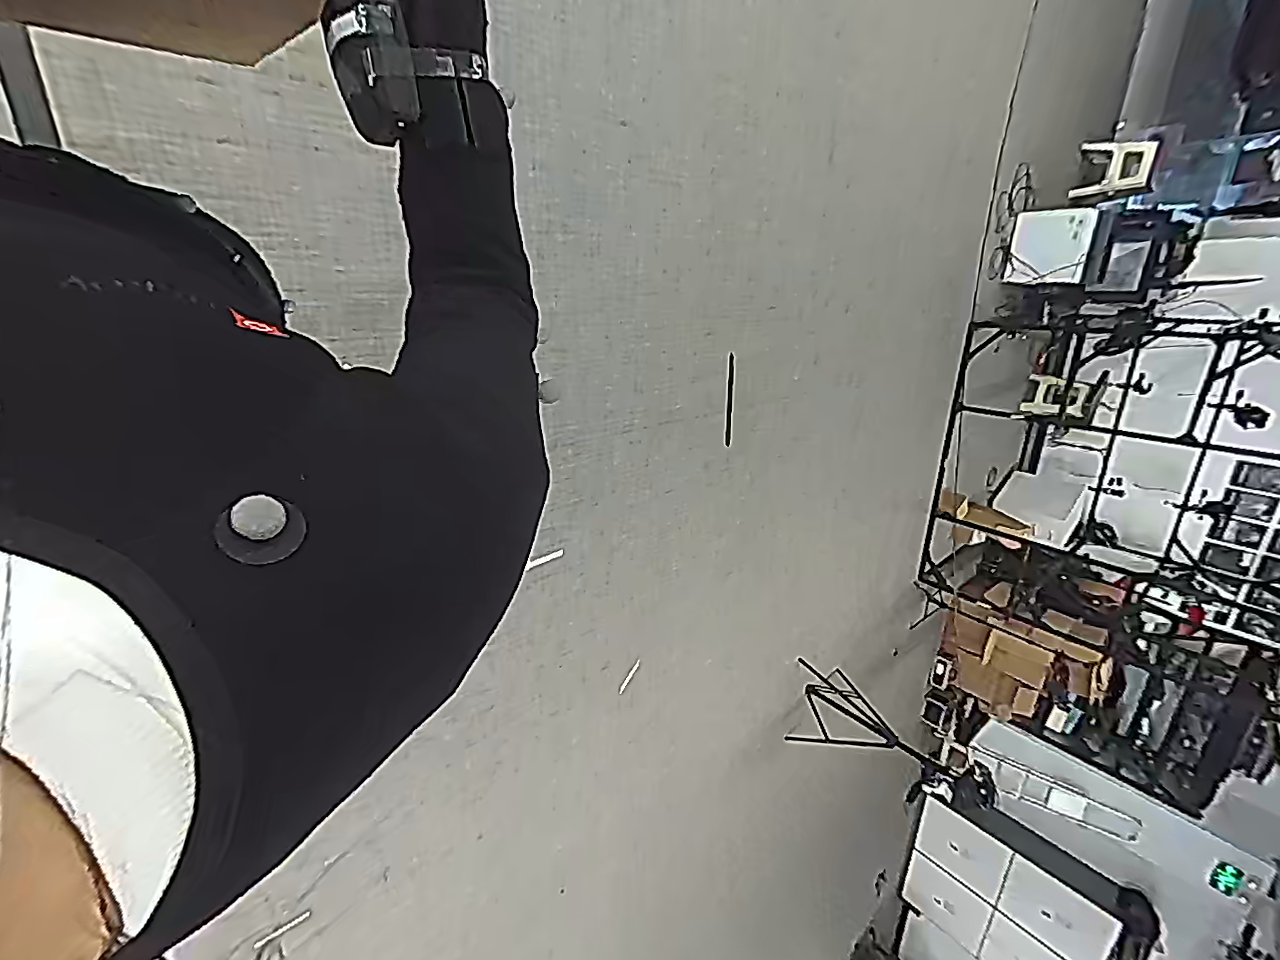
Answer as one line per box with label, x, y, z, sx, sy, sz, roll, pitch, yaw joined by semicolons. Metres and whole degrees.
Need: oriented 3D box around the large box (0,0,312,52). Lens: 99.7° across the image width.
large box;-0.401;-0.420;0.214;0.408;0.320;0.320;-20;126;-39
